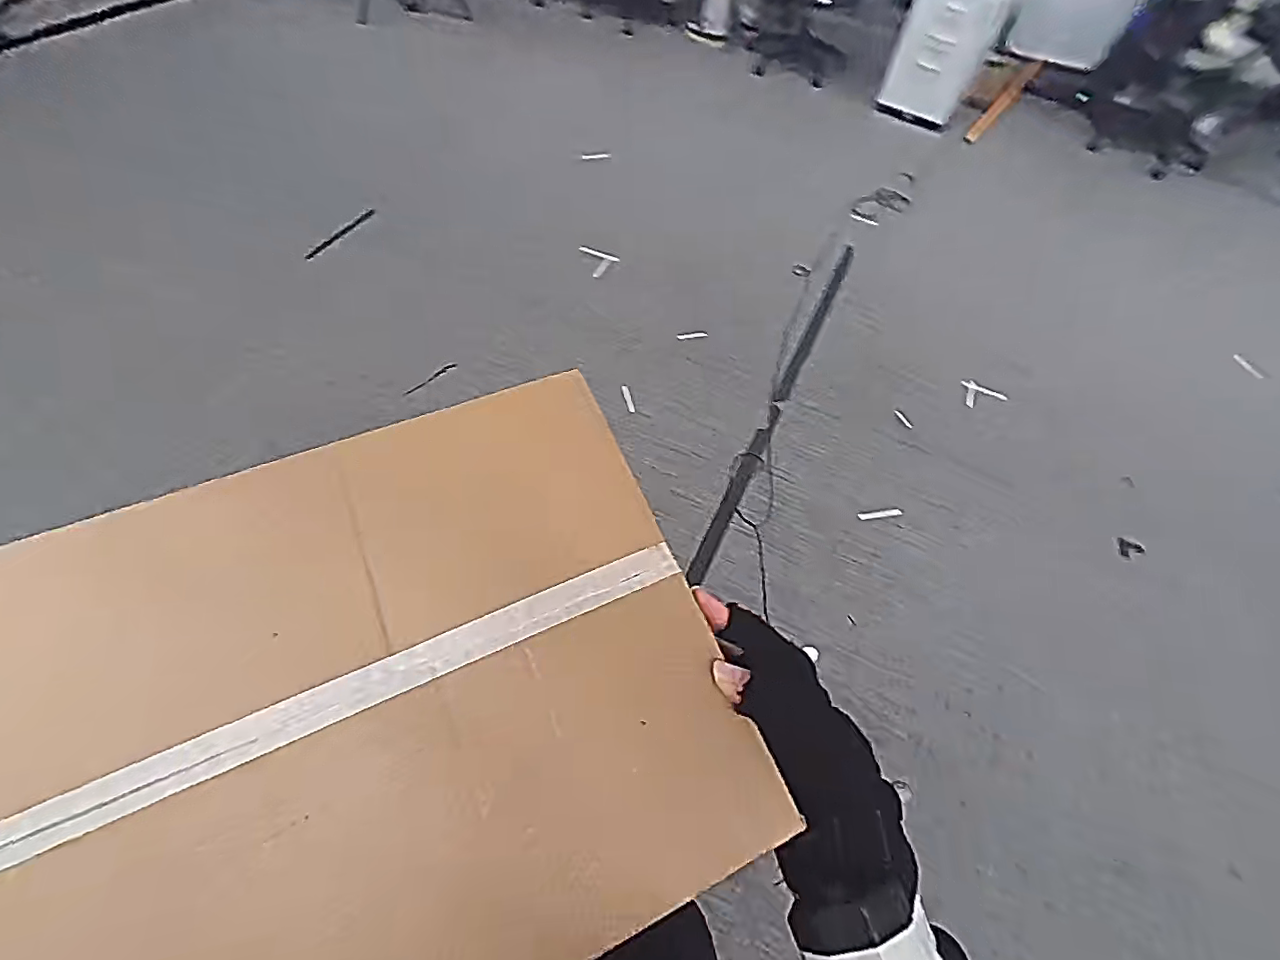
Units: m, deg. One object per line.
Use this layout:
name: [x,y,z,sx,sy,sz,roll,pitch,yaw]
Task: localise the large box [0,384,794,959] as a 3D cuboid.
large box: [-0.166,0.184,0.436,0.408,0.320,0.320,-20,69,-14]
